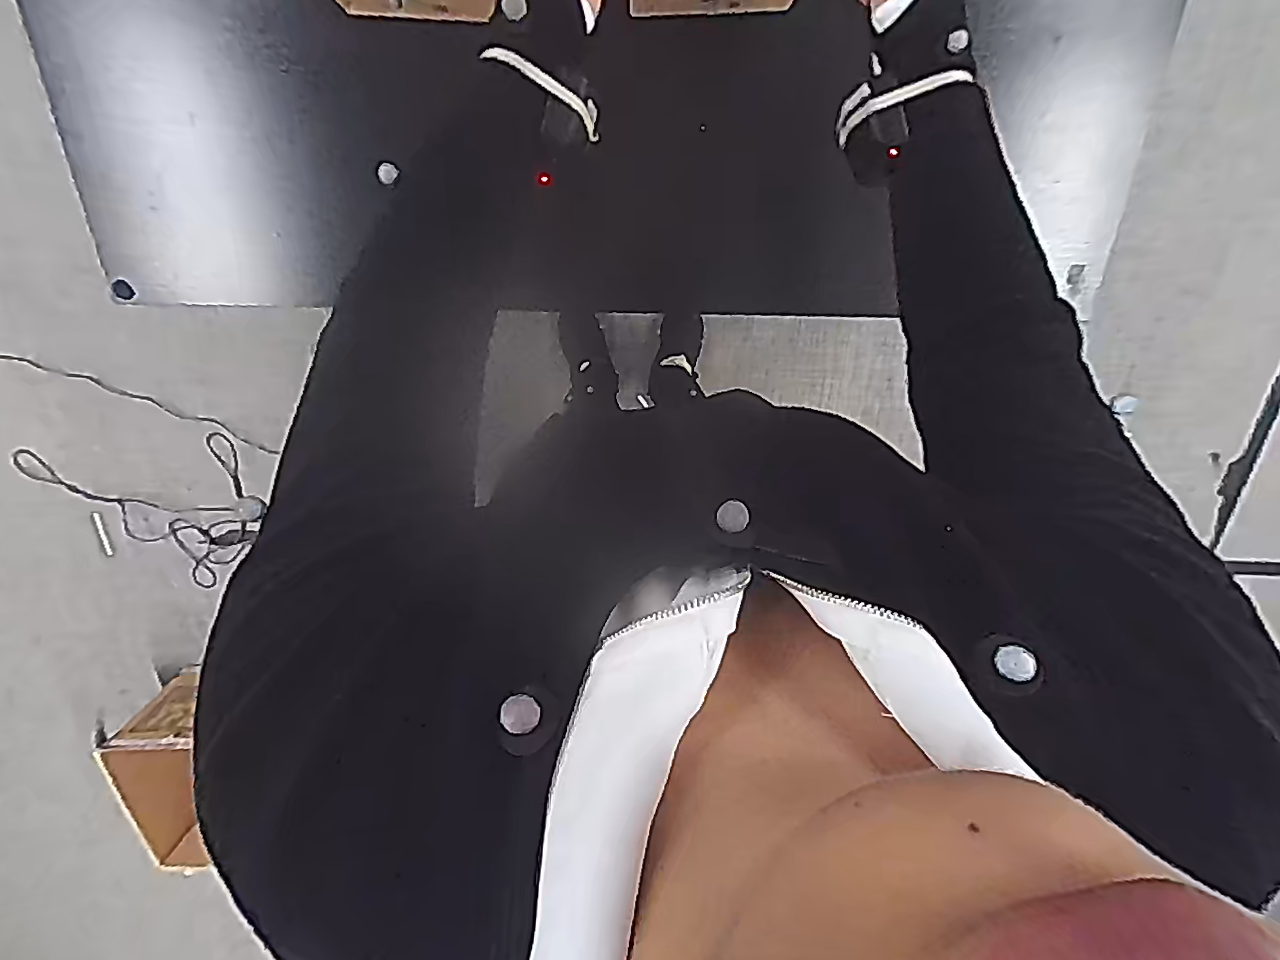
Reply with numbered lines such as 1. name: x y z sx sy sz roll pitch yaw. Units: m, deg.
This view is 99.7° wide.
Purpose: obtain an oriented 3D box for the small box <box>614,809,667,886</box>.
1. small box: 0.000 1.314 1.940 0.179 0.176 0.168 3 110 -1

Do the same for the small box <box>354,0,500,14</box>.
1. small box: -0.217 -0.536 0.450 0.168 0.176 0.179 2 112 -2

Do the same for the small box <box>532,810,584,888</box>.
1. small box: -0.290 1.314 1.933 0.168 0.176 0.179 5 110 -4
